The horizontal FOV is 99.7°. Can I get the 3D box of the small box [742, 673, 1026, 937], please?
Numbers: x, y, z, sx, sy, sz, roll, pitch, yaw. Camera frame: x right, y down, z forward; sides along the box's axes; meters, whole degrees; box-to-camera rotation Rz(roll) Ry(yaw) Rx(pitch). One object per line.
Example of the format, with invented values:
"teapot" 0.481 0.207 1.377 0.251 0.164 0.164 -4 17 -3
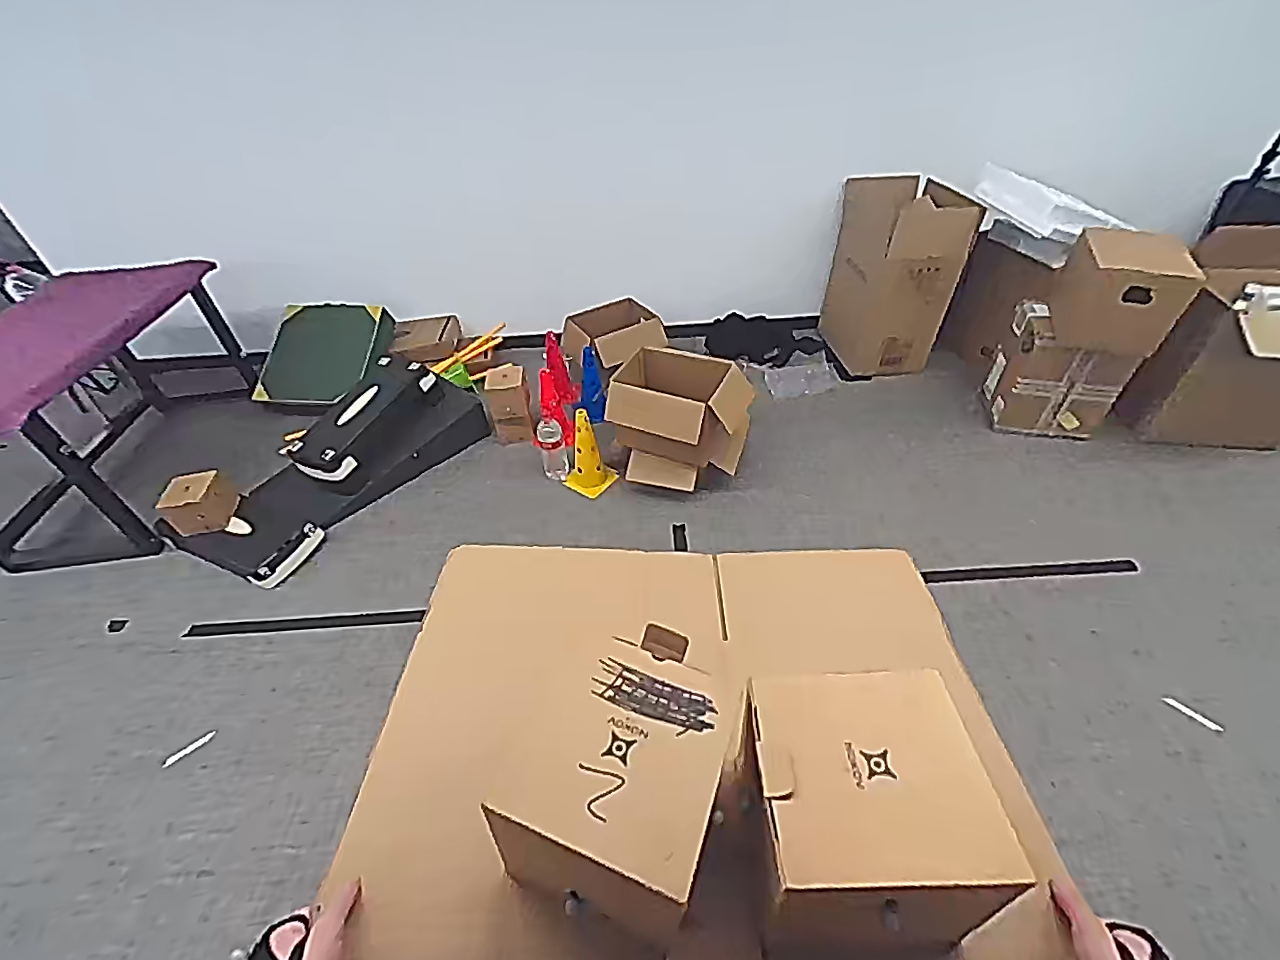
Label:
"small box" 0.196 0.298 0.500 0.179 0.176 0.168 -3 39 2
